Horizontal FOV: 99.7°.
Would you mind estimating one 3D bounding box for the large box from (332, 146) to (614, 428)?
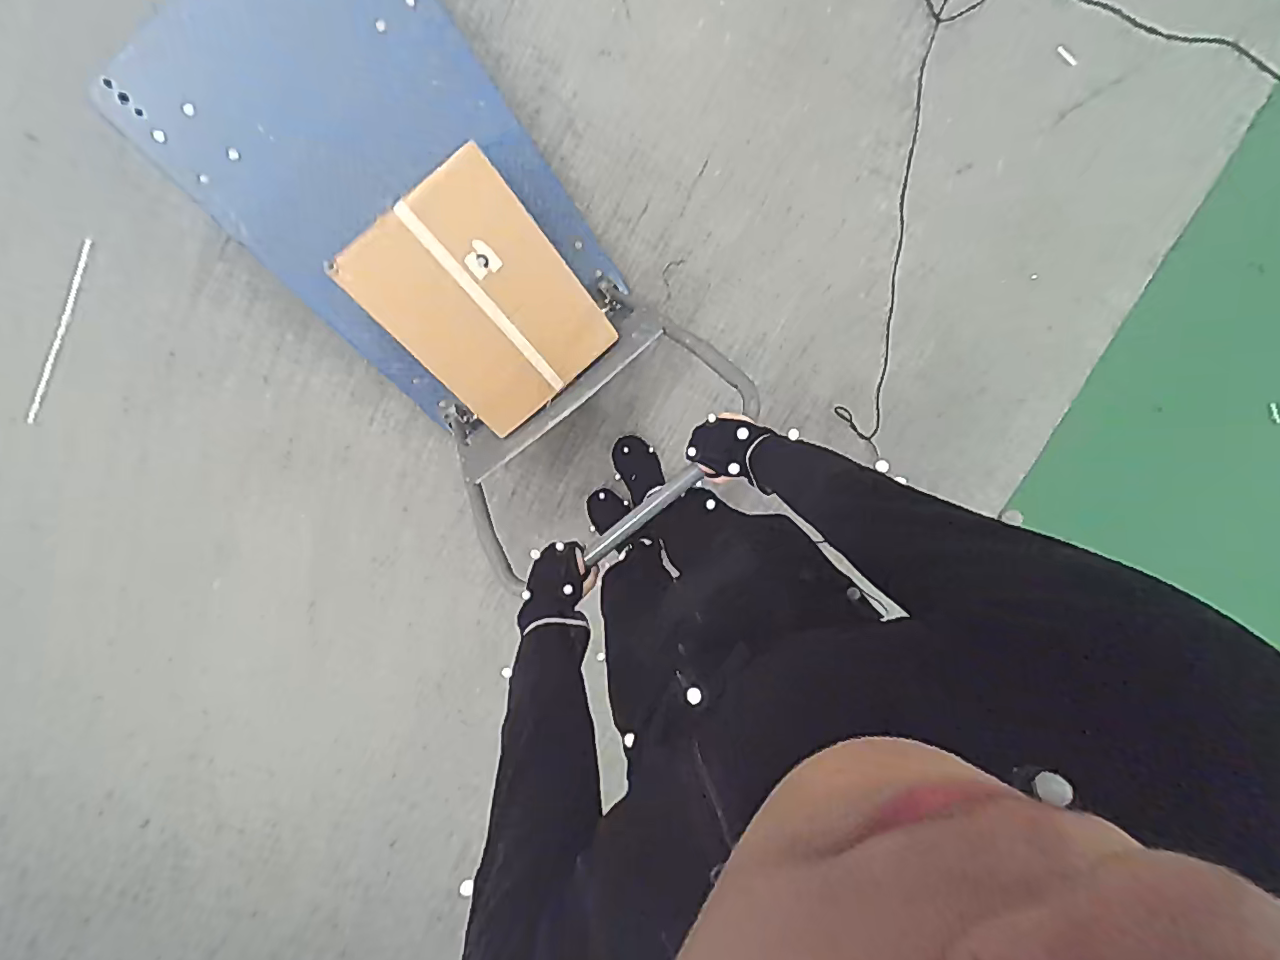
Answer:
[{"bbox_3d":[-0.320,-0.384,1.100,0.320,0.320,0.408,-40,123,2],"label":"large box"}]
